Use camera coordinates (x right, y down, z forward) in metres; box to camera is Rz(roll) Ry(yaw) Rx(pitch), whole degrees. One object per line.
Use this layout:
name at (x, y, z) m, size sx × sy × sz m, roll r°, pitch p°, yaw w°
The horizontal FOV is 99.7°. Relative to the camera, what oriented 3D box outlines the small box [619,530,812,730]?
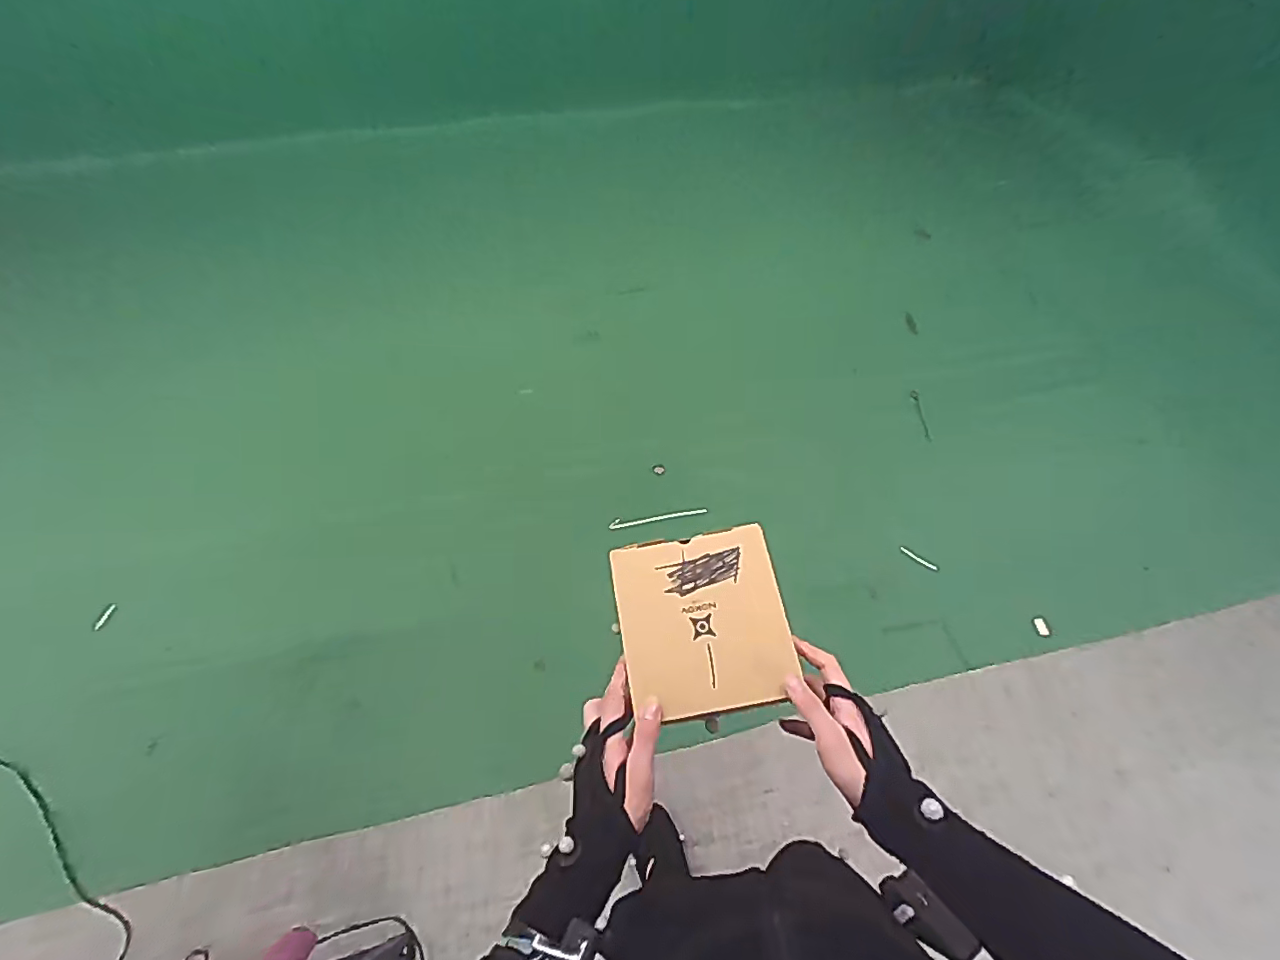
small box at (0.072, 0.175, 0.608) m, size 0.168 × 0.176 × 0.179 m, roll -10°, pitch 65°, yaw 0°
